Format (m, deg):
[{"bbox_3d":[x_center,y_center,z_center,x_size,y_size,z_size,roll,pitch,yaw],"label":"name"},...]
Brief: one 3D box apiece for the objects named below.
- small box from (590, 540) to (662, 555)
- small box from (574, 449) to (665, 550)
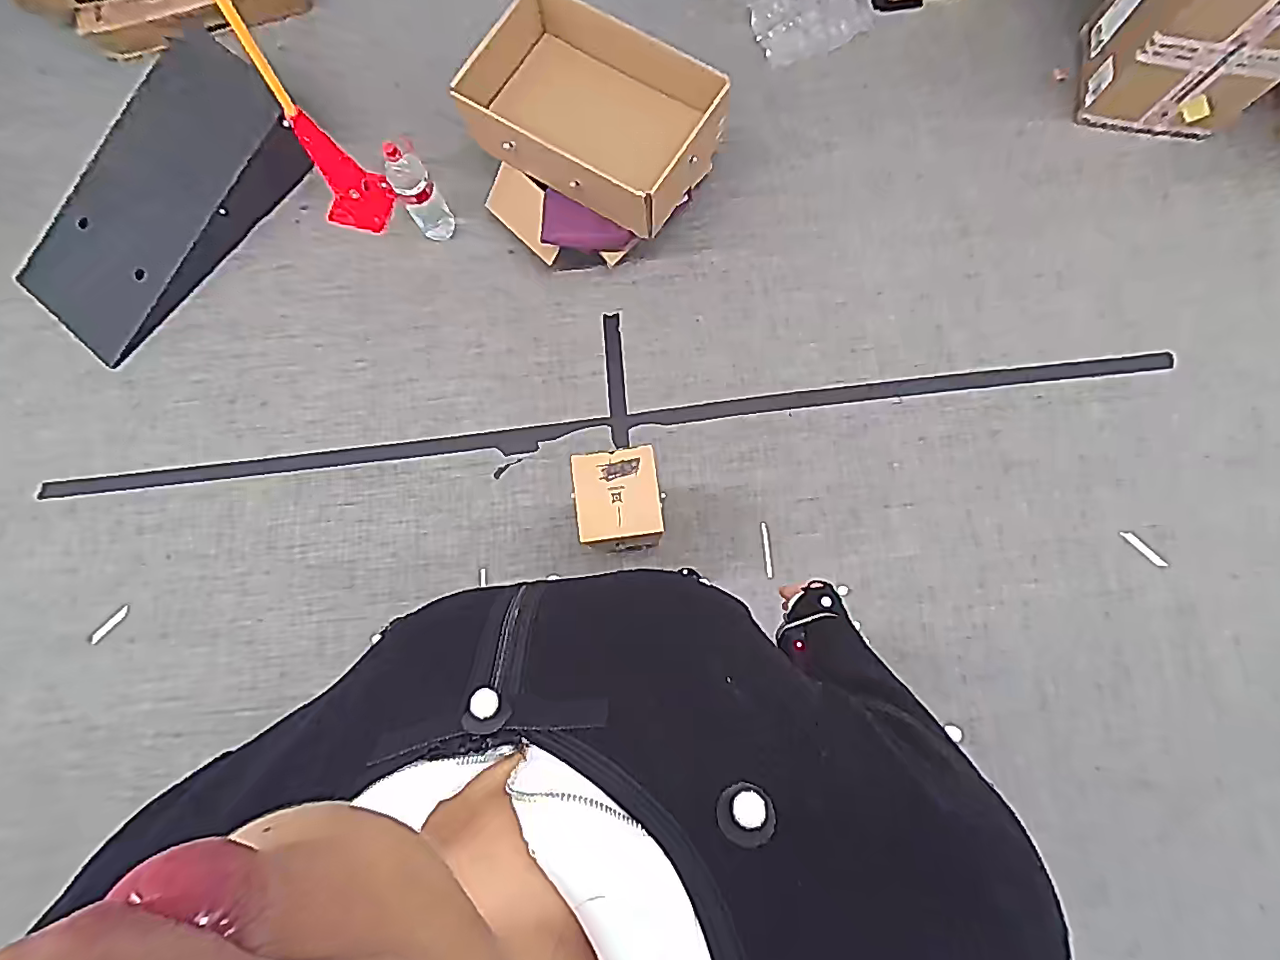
[{"bbox_3d":[-0.039,0.079,1.292,0.168,0.176,0.179,-8,78,1],"label":"small box"},{"bbox_3d":[-0.041,0.047,1.130,0.168,0.176,0.179,-7,80,1],"label":"small box"}]
